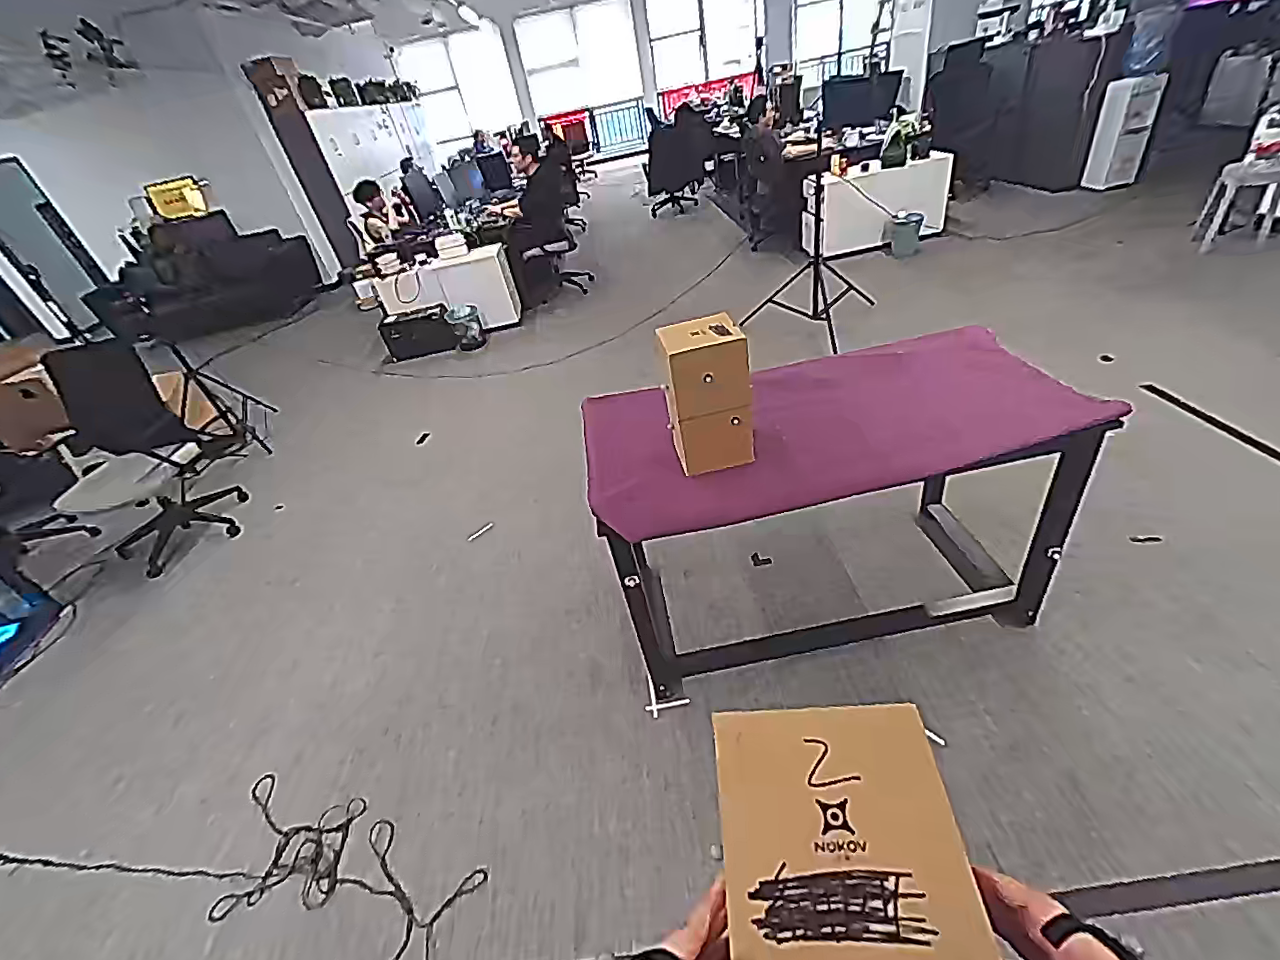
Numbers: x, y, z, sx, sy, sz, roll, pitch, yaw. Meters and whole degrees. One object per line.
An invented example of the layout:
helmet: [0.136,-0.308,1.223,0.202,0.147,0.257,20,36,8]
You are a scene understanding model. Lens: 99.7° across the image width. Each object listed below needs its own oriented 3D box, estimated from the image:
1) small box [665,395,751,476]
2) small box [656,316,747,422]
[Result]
small box: [0.172,-0.130,1.360,0.179,0.176,0.168,-13,36,-1]
small box: [0.145,-0.258,1.259,0.179,0.176,0.168,-13,36,-1]
